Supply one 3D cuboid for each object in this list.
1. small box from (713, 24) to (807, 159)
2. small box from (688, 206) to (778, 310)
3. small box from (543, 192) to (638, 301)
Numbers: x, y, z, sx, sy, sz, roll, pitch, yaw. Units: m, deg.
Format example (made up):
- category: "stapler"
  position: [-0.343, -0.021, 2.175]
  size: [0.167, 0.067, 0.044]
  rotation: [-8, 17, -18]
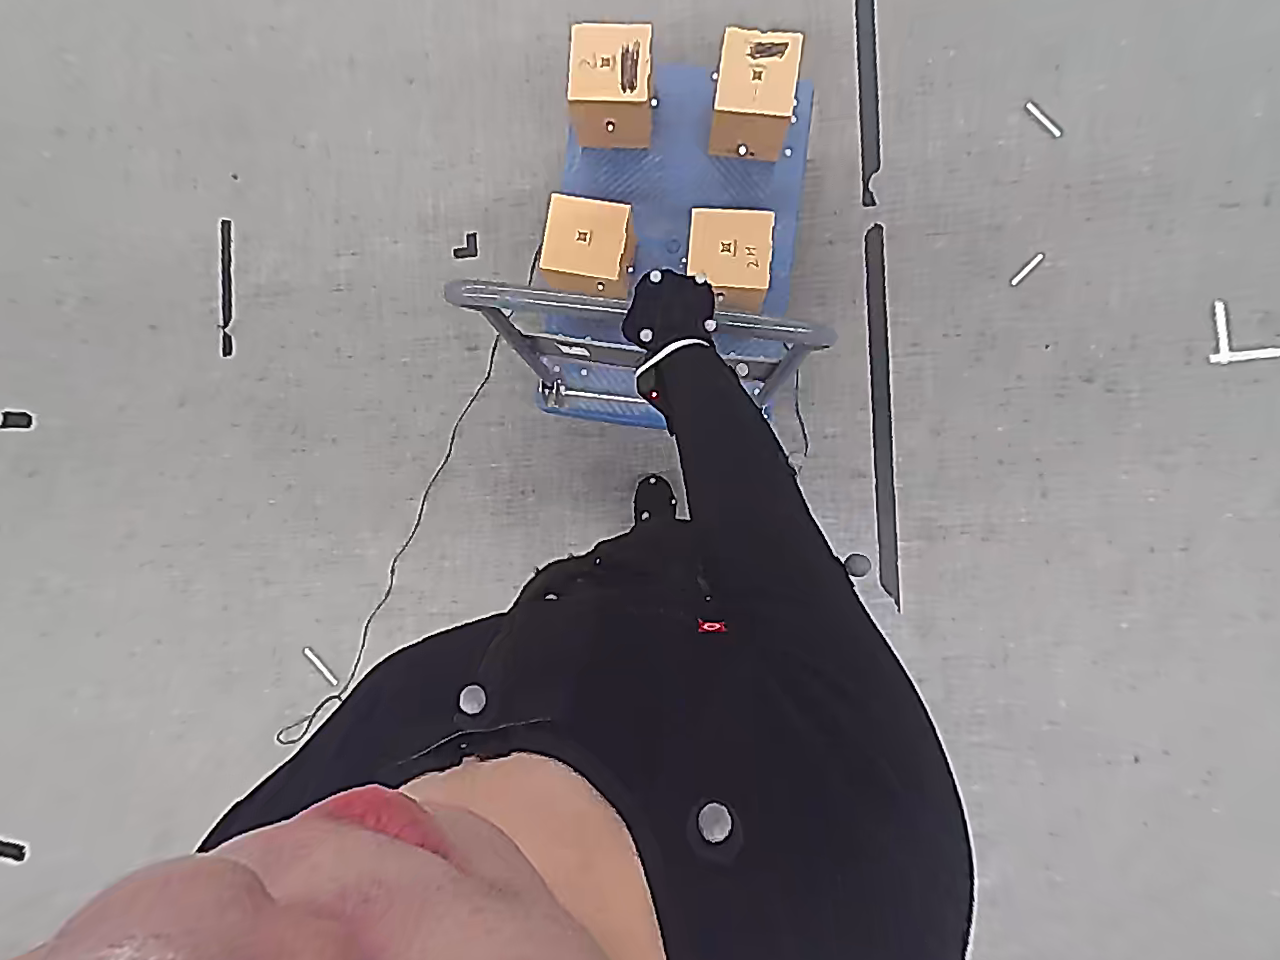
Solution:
- category: "small box"
  position: [0.259, -0.859, 1.208]
  size: [0.168, 0.176, 0.179]
  rotation: [8, 92, 4]
- category: "small box"
  position: [0.201, -0.490, 1.212]
  size: [0.179, 0.176, 0.168]
  rotation: [5, 90, 4]
- category: "small box"
  position: [-0.106, -0.524, 1.234]
  size: [0.179, 0.176, 0.168]
  rotation: [10, 90, 2]
